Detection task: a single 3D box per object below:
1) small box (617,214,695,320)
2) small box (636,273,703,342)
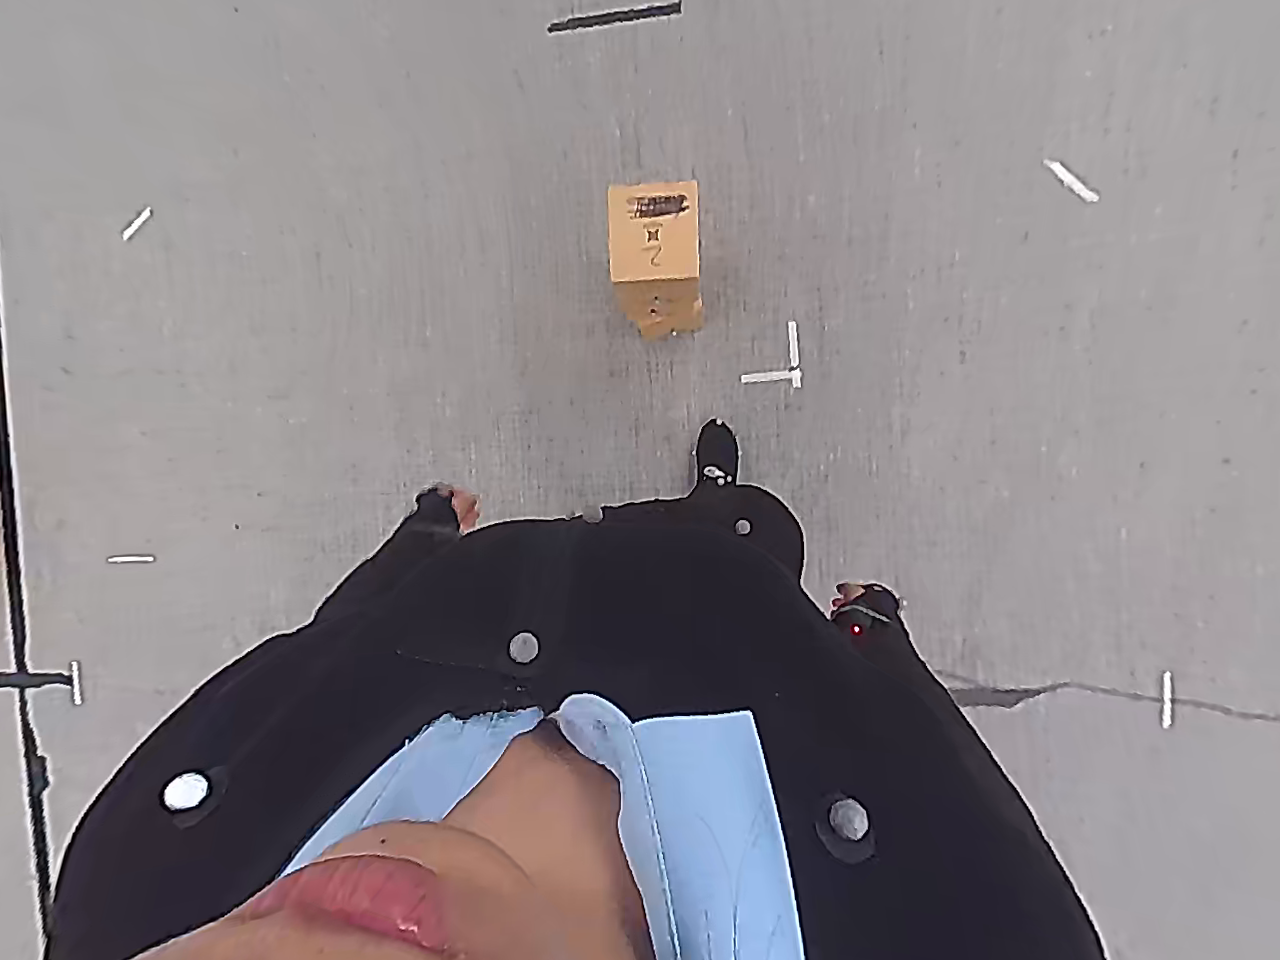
[{"bbox_3d":[0.038,-0.473,1.222,0.168,0.176,0.179,-2,92,6],"label":"small box"},{"bbox_3d":[0.062,-0.472,1.384,0.168,0.176,0.179,-14,91,7],"label":"small box"}]
